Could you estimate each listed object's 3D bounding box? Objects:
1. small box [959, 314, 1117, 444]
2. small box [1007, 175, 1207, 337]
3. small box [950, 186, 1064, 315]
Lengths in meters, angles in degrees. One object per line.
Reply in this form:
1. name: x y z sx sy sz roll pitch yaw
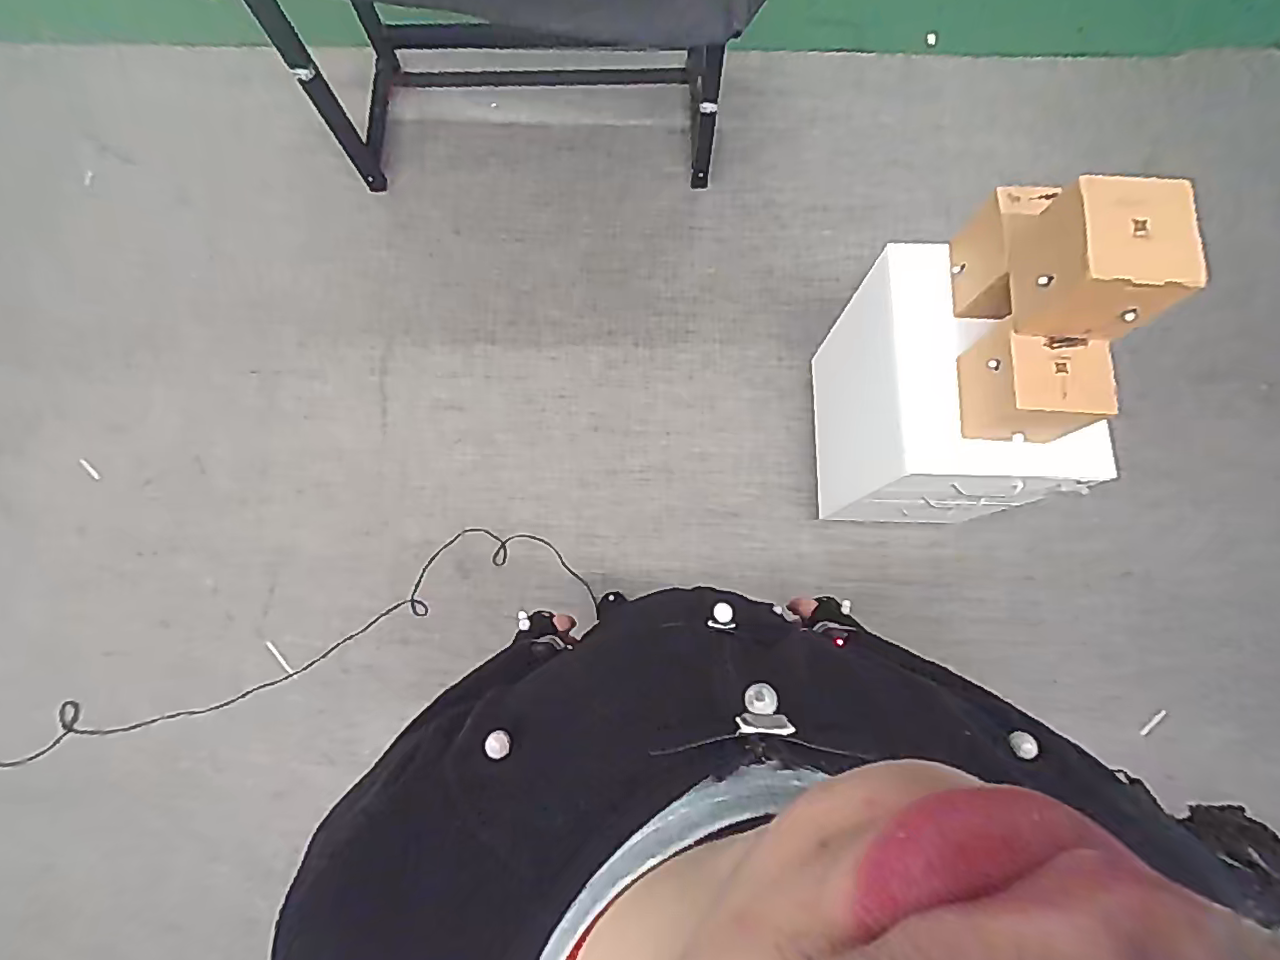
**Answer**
1. small box: 0.706 -0.177 0.982 0.168 0.176 0.179 4 78 2
2. small box: 0.718 -0.343 0.854 0.168 0.176 0.179 4 76 1
3. small box: 0.725 -0.430 1.040 0.168 0.176 0.179 2 79 1
